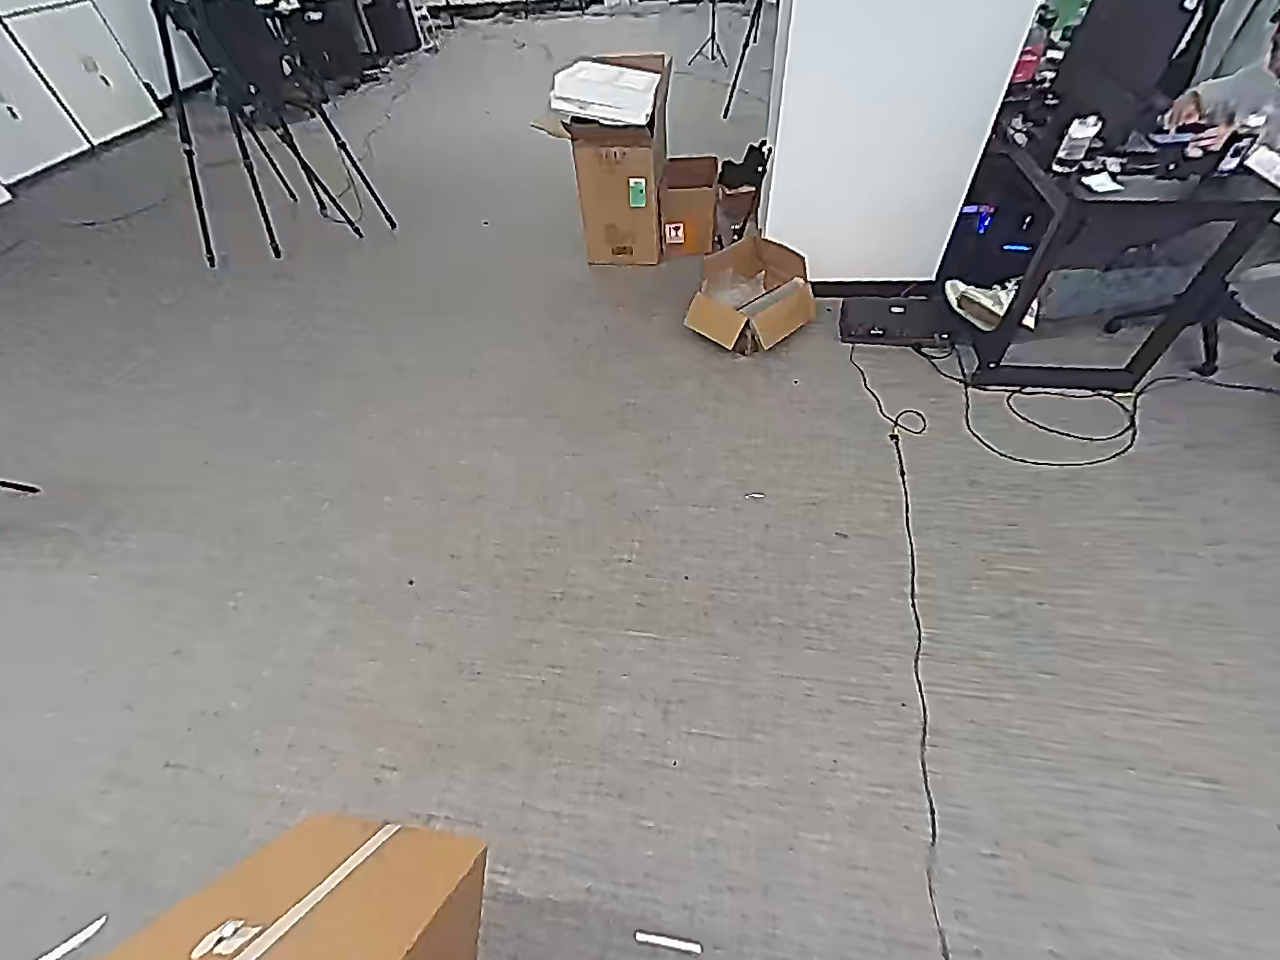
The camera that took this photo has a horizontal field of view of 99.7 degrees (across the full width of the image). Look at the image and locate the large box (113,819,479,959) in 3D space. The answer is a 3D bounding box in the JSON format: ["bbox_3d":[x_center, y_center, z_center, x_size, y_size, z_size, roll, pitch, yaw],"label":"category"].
[{"bbox_3d":[-0.442,0.710,0.677,0.320,0.408,0.320,3,85,9],"label":"large box"}]
